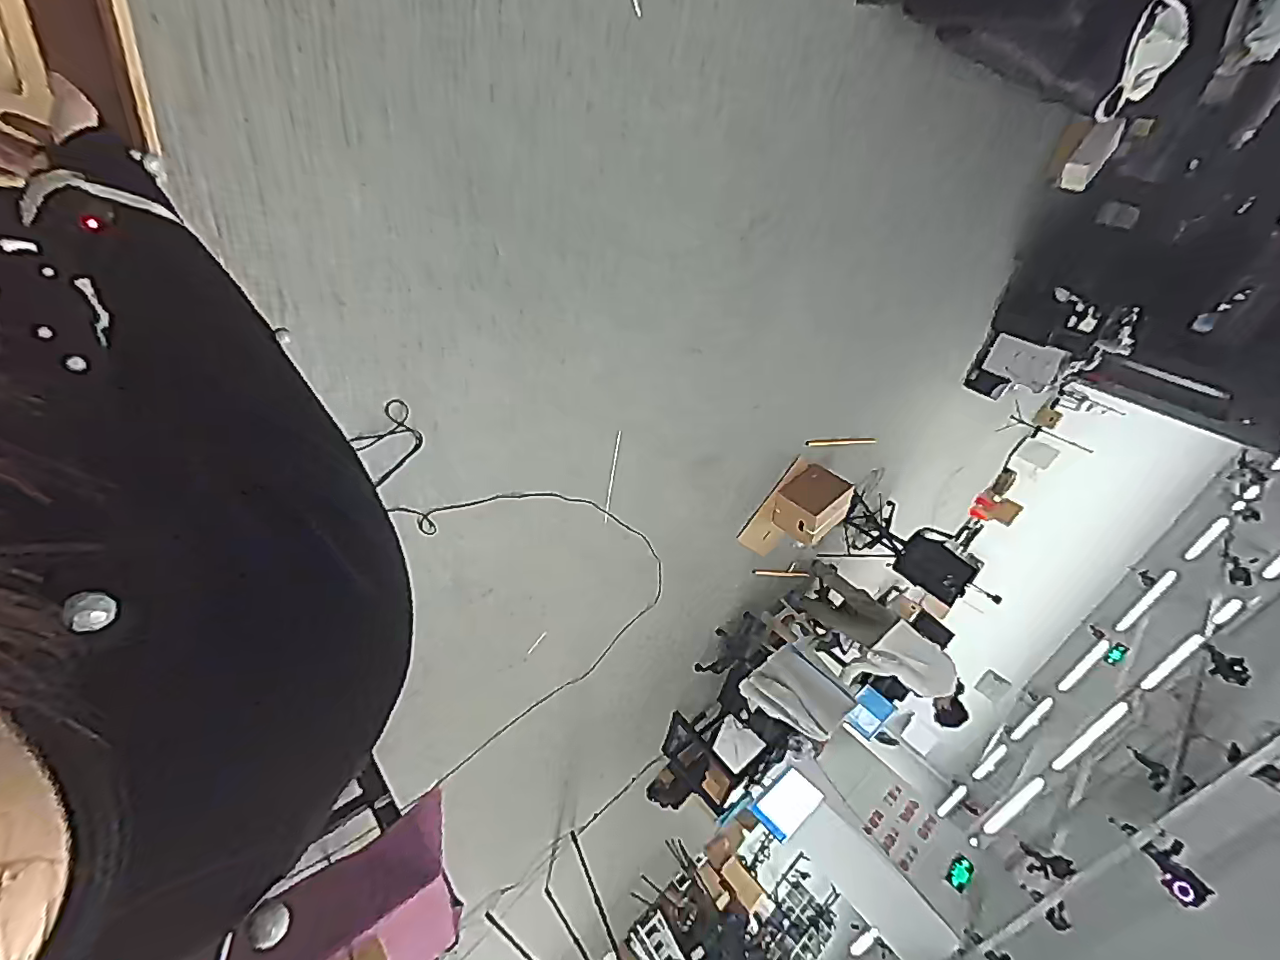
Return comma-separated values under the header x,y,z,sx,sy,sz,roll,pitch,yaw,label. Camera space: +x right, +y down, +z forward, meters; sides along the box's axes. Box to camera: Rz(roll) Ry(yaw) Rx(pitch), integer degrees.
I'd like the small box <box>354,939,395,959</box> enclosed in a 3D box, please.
x,y,z,sx,sy,sz,roll,pitch,yaw,label
-0.708,1.357,1.410,0.168,0.176,0.179,-21,135,-36,small box
